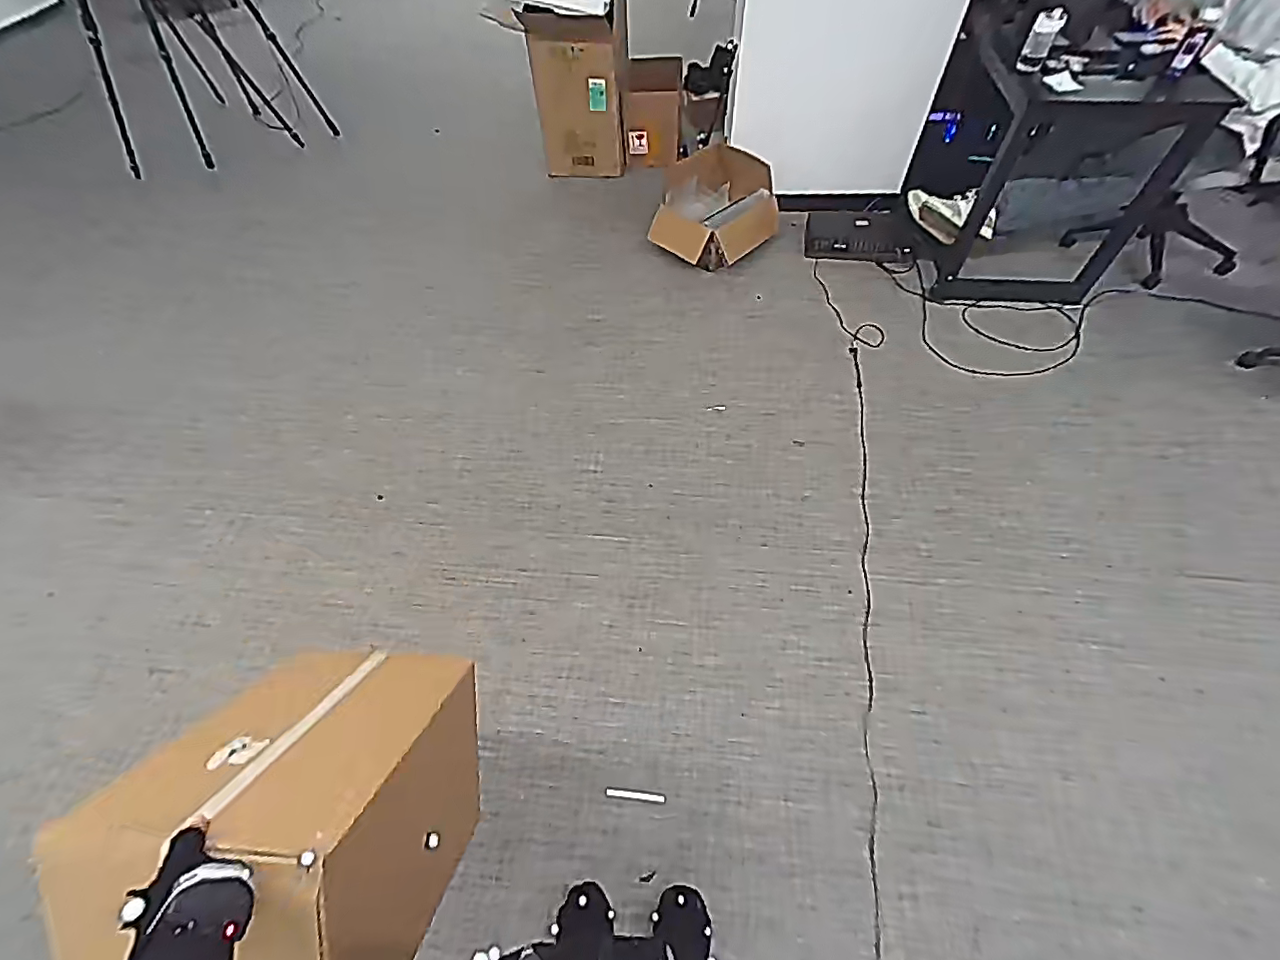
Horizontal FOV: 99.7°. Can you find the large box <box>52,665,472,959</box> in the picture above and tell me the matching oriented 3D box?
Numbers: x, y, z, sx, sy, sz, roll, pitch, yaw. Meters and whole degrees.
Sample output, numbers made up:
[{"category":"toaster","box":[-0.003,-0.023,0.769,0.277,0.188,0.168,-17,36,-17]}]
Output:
[{"category":"large box","box":[-0.459,0.510,0.772,0.320,0.408,0.320,1,99,4]}]
